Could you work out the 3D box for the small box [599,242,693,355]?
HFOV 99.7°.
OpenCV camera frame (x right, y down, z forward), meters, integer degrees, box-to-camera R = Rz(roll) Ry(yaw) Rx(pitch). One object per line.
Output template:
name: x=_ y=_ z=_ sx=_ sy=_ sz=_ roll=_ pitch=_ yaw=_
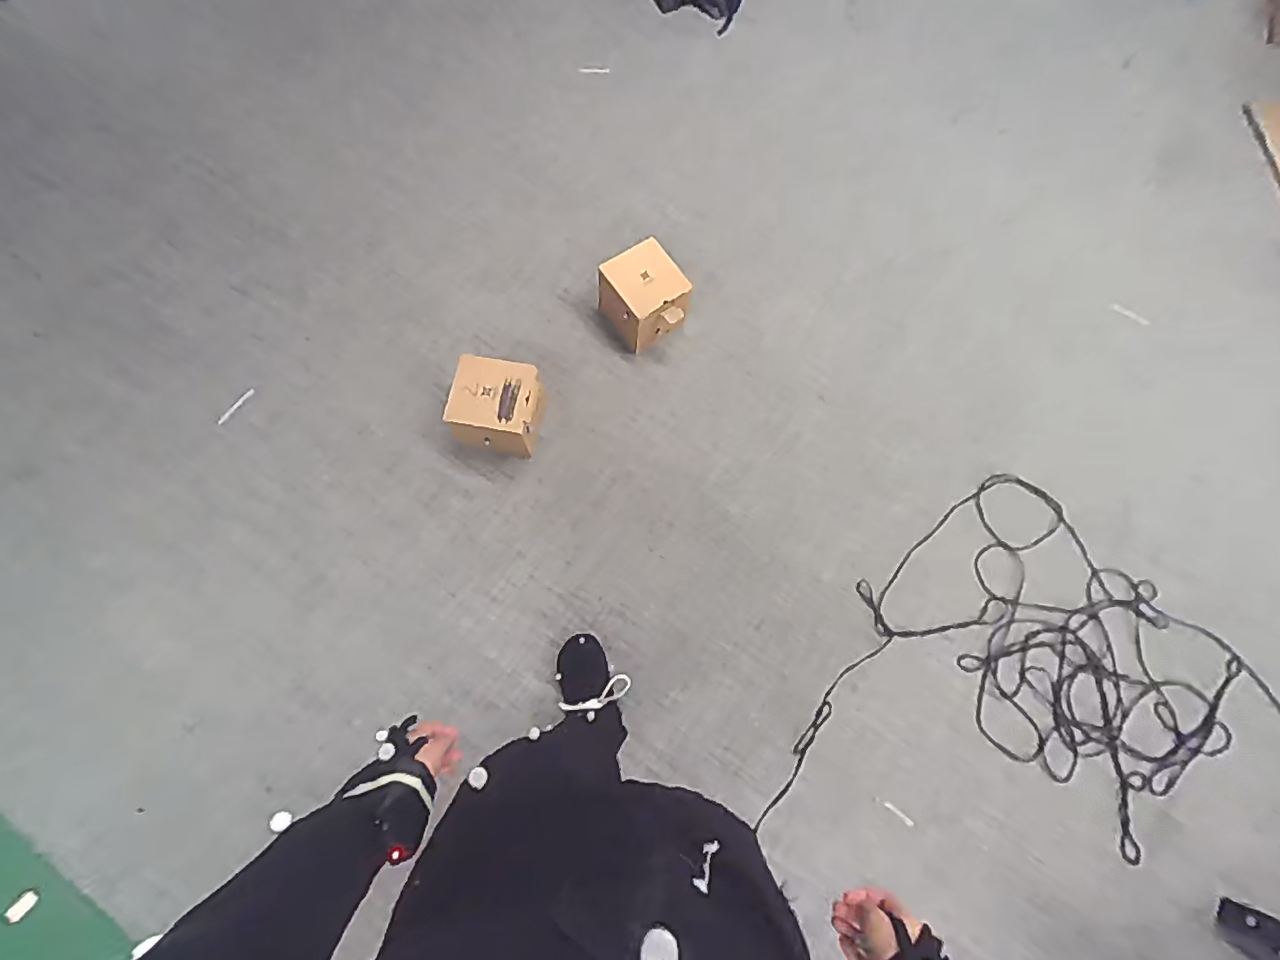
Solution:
small box: x=0.008 y=-0.454 z=1.370 sx=0.168 sy=0.176 sz=0.179 roll=-34 pitch=79 yaw=-13
